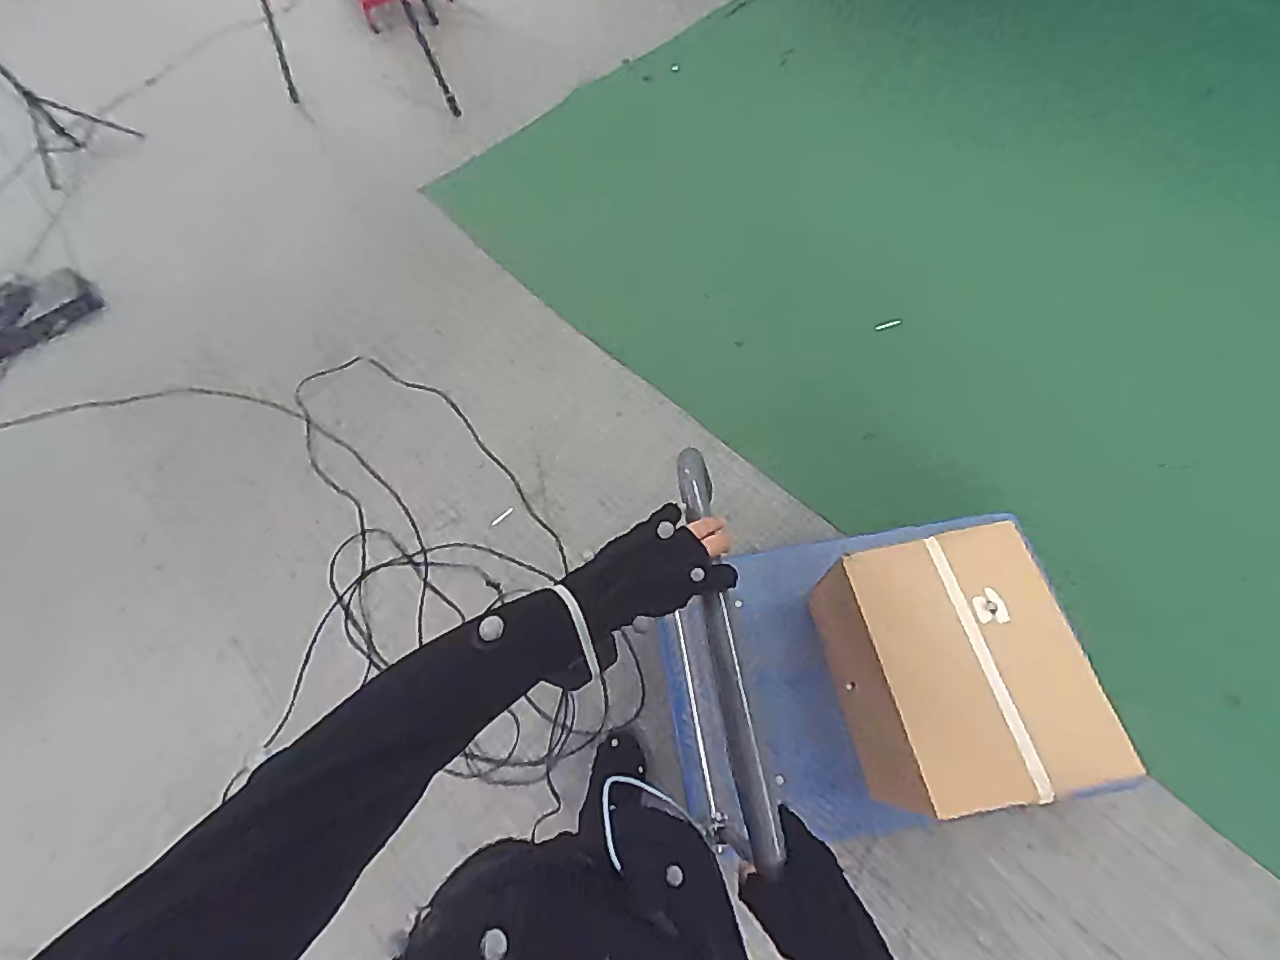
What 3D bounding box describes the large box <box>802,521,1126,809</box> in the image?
[{"bbox_3d":[0.539,0.342,1.008,0.320,0.320,0.408,-11,63,-2],"label":"large box"}]
